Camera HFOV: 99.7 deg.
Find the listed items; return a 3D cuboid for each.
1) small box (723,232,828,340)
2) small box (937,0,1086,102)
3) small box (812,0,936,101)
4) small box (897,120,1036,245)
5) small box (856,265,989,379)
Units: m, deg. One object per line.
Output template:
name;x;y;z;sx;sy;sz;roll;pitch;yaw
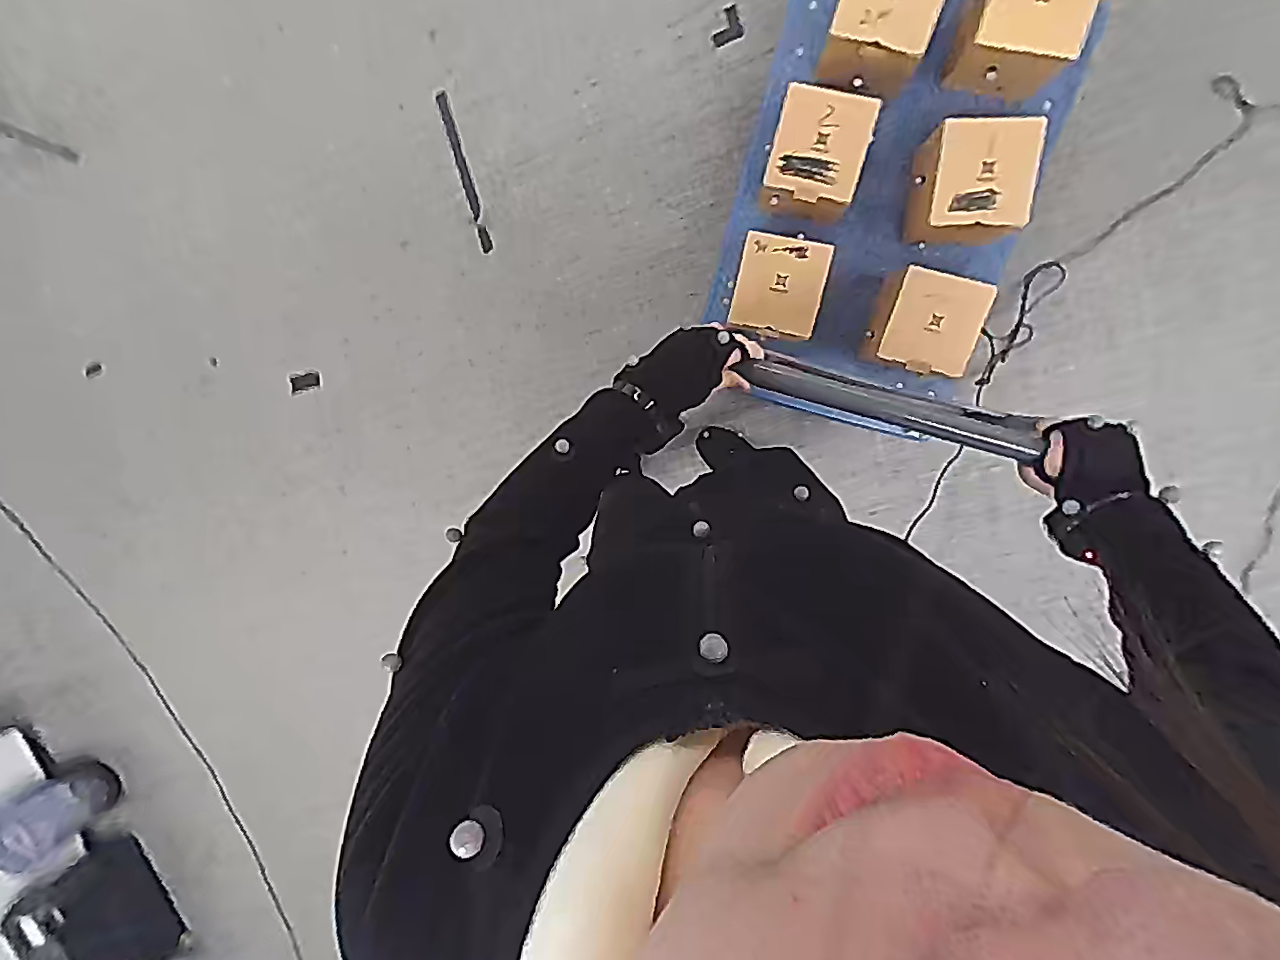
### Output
small box;0.273;-0.394;1.125;0.168;0.176;0.179;13;105;4
small box;0.664;-0.819;0.972;0.168;0.176;0.179;13;104;5
small box;0.432;-0.849;0.998;0.168;0.176;0.179;18;105;4
small box;0.612;-0.560;1.038;0.168;0.176;0.179;5;102;7
small box;0.560;-0.315;1.102;0.168;0.176;0.179;17;104;4
